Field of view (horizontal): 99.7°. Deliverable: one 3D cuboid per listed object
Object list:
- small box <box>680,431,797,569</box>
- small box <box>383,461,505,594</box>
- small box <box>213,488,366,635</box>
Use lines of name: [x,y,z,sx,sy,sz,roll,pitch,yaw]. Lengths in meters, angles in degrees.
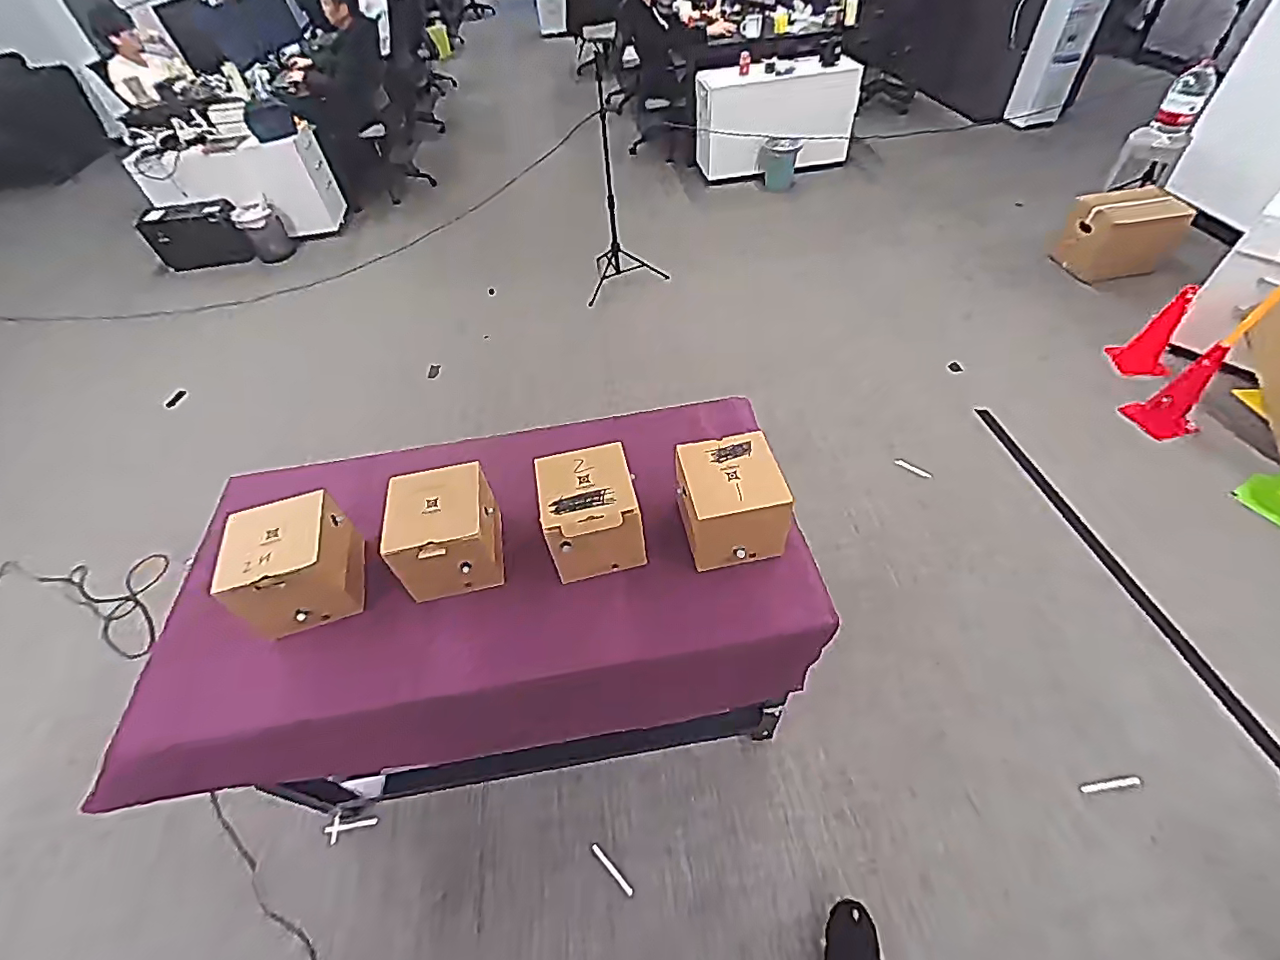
small box: [0.170,0.038,0.998,0.168,0.176,0.179,-11,50,-3]
small box: [-0.352,0.095,1.003,0.168,0.176,0.179,-10,49,-5]
small box: [-0.616,0.148,0.978,0.168,0.176,0.179,-16,50,-8]
